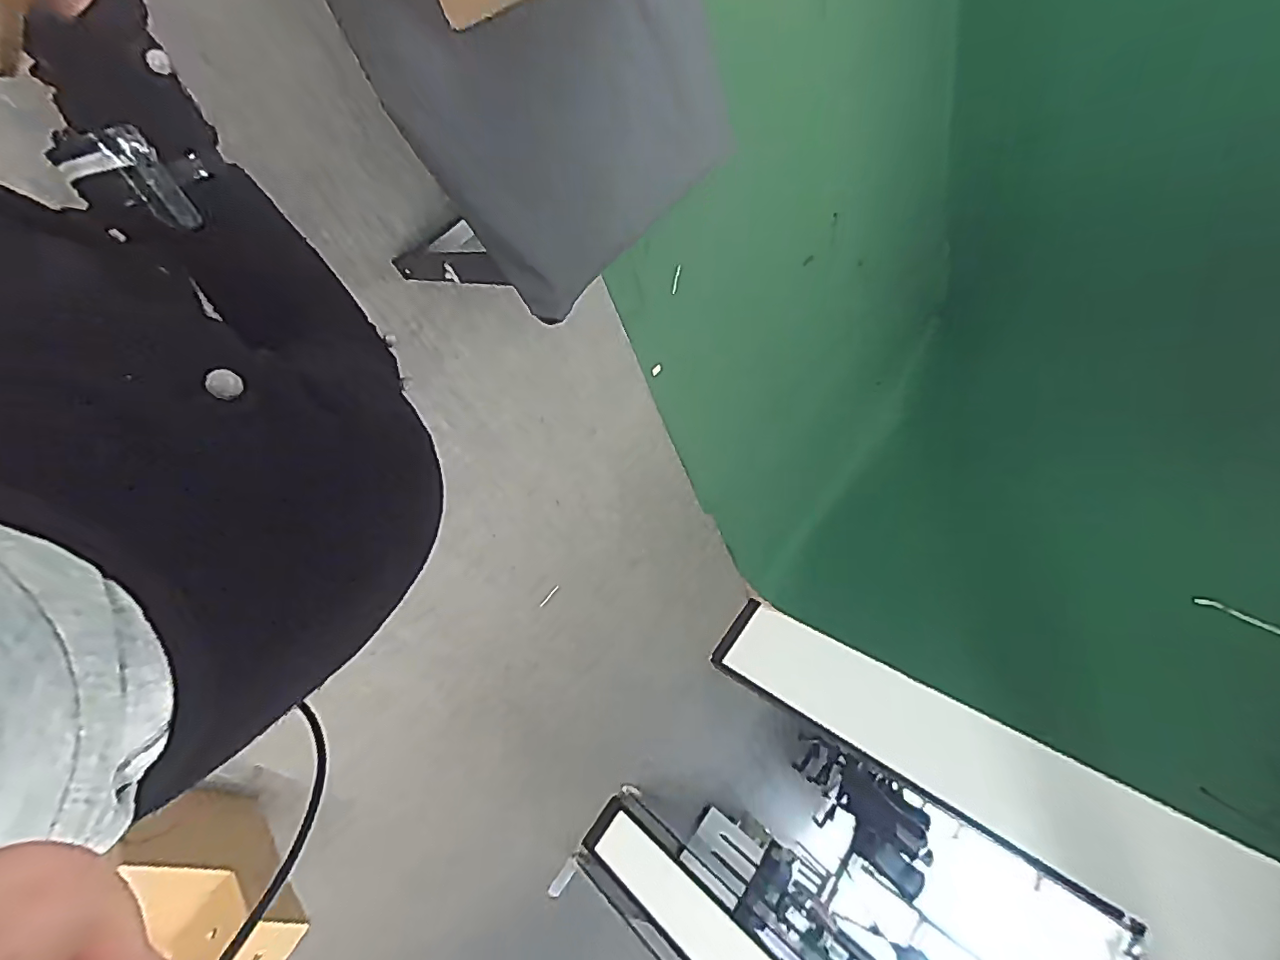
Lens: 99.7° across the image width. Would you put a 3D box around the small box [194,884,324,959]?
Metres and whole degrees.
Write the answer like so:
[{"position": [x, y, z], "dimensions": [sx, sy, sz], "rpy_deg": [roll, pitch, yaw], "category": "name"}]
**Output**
[{"position": [-0.890, 1.093, 1.257], "dimensions": [0.179, 0.176, 0.168], "rpy_deg": [-57, 138, -22], "category": "small box"}]
